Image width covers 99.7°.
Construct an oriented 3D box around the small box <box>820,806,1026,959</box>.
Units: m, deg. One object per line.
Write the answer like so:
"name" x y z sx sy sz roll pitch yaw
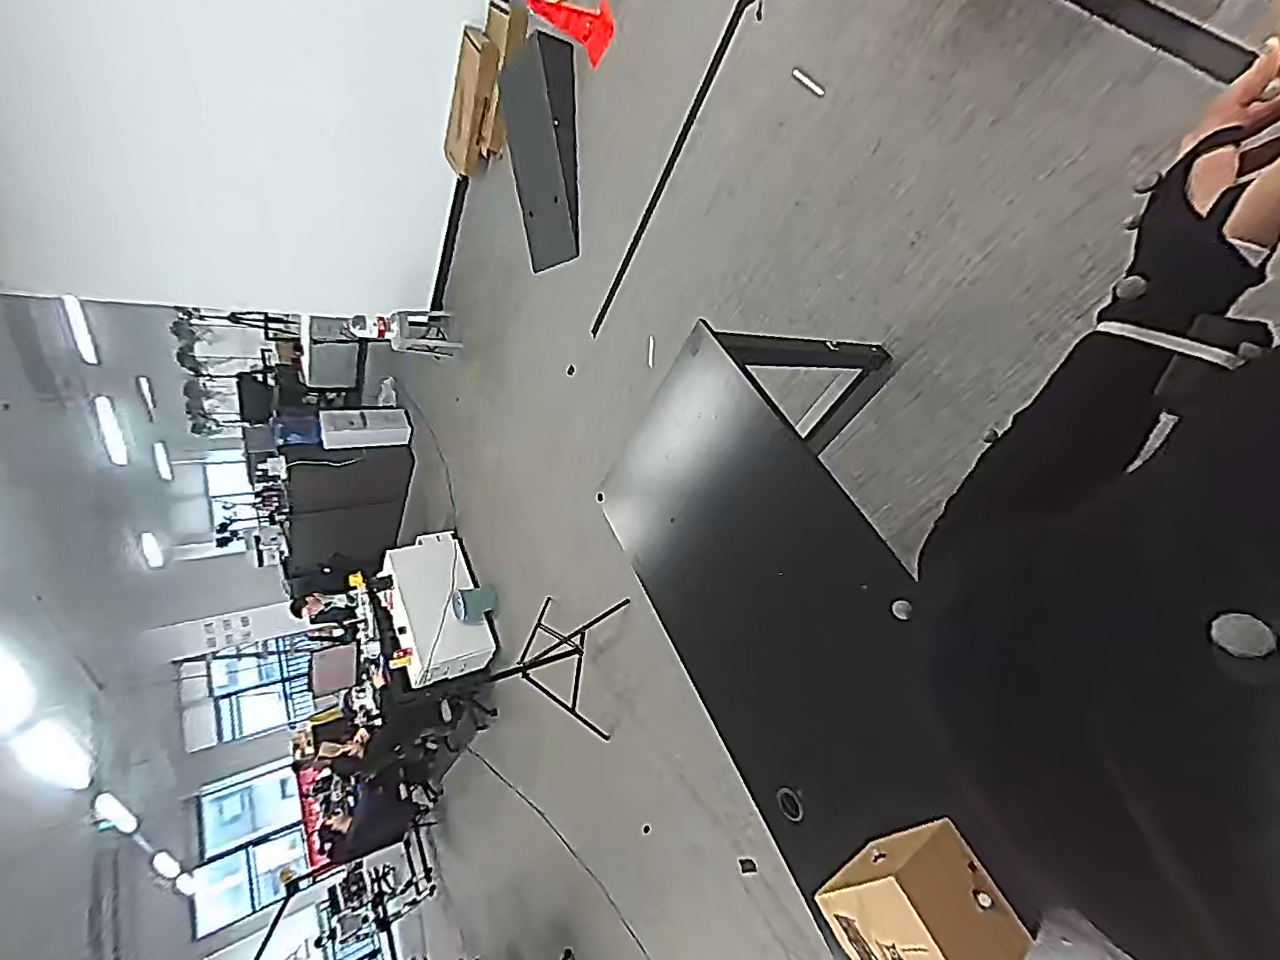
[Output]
"small box" 0.414 0.618 0.797 0.168 0.176 0.179 58 137 28
